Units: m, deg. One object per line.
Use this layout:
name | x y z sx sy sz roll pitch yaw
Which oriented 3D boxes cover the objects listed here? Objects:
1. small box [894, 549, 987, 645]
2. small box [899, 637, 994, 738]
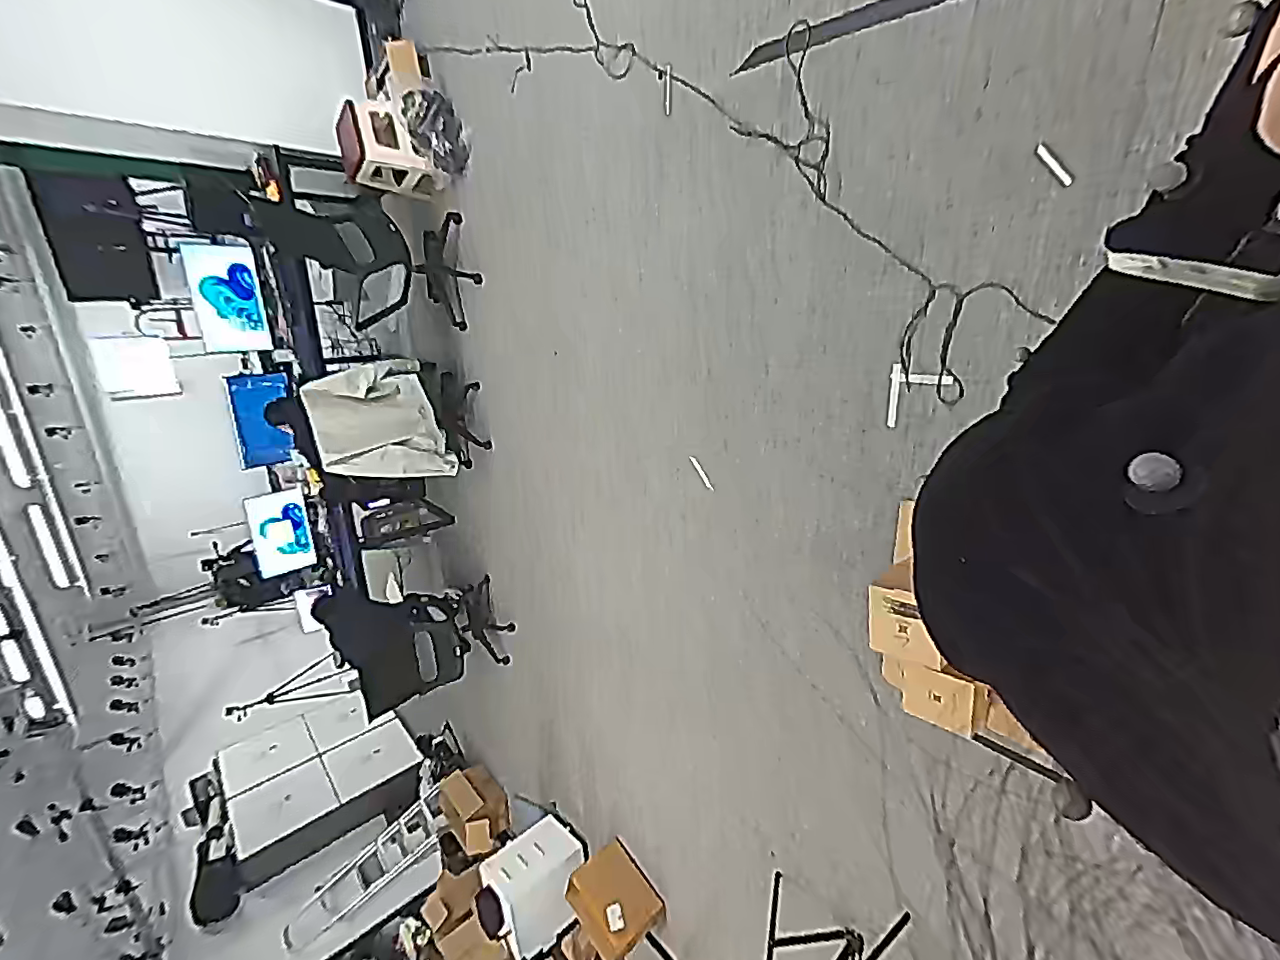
small box | 0.788 0.296 1.416 0.168 0.176 0.179 11 111 47
small box | 0.827 0.549 1.462 0.179 0.176 0.168 10 111 46
